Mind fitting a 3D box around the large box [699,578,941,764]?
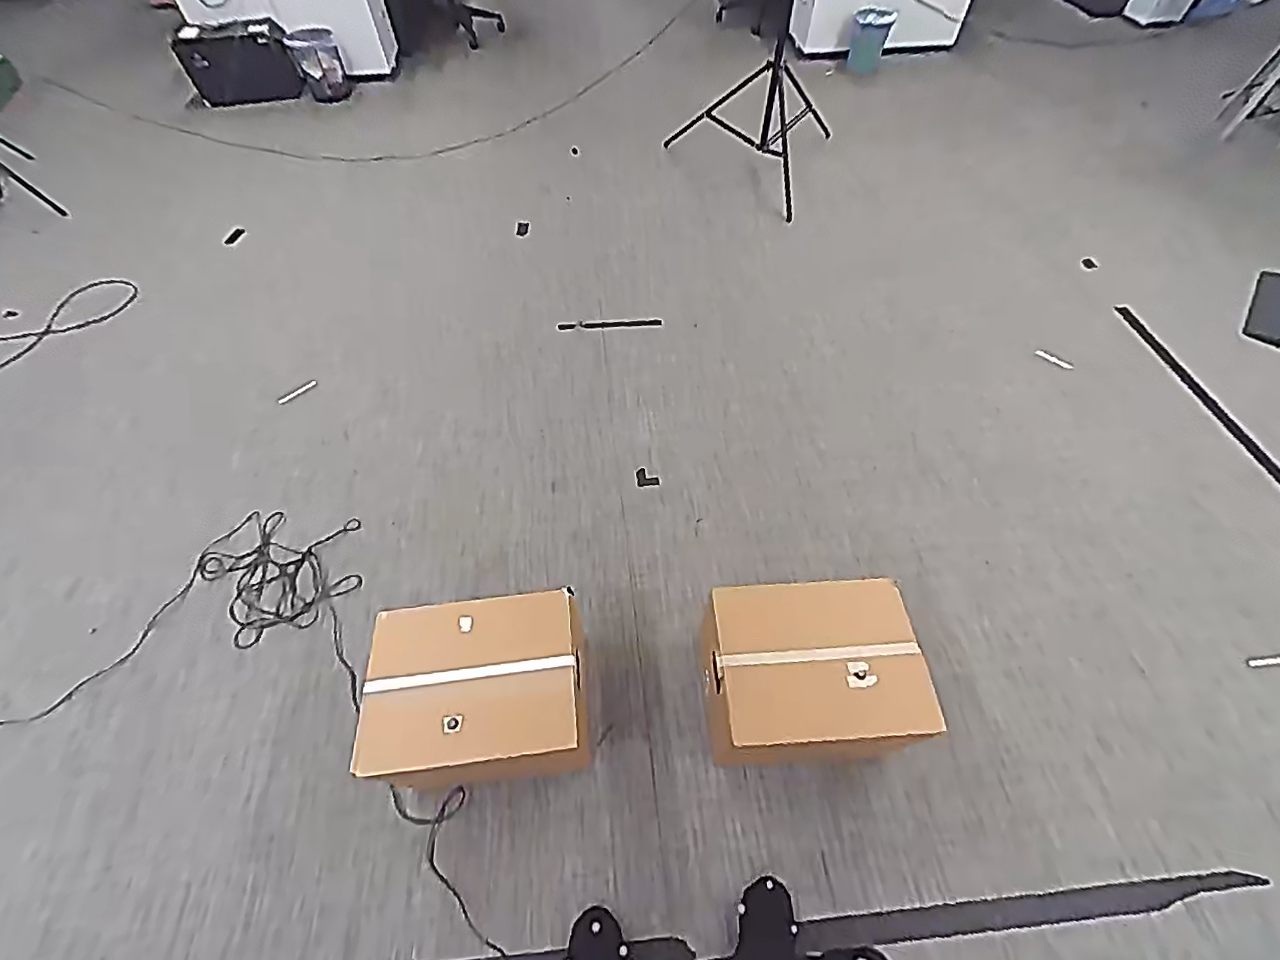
[{"bbox_3d":[0.363,0.436,1.217,0.408,0.320,0.320,-2,56,-2],"label":"large box"}]
